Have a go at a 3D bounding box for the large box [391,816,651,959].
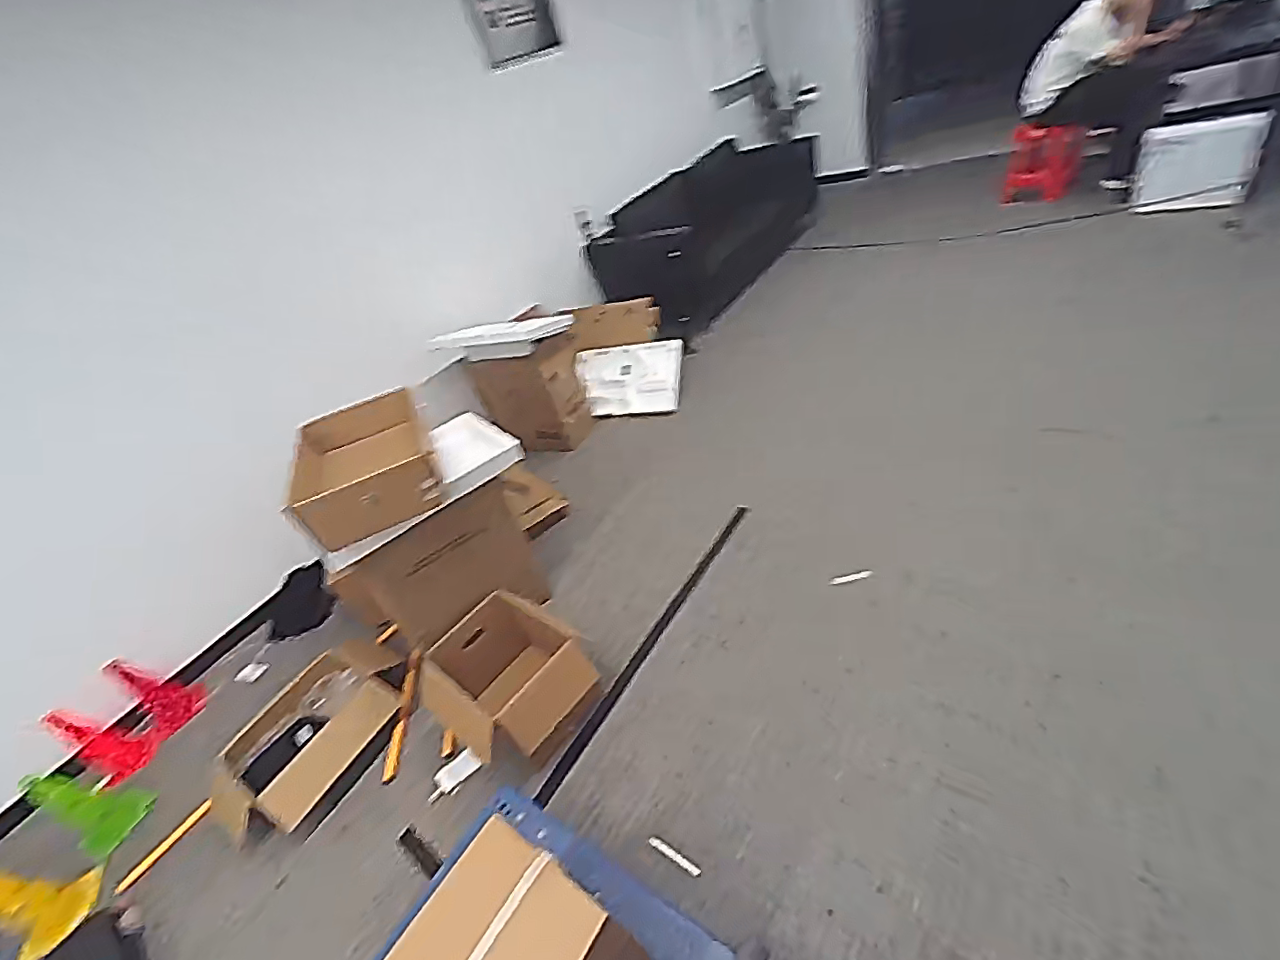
[{"bbox_3d":[-0.238,0.933,0.975,0.320,0.320,0.408,11,46,37],"label":"large box"}]
